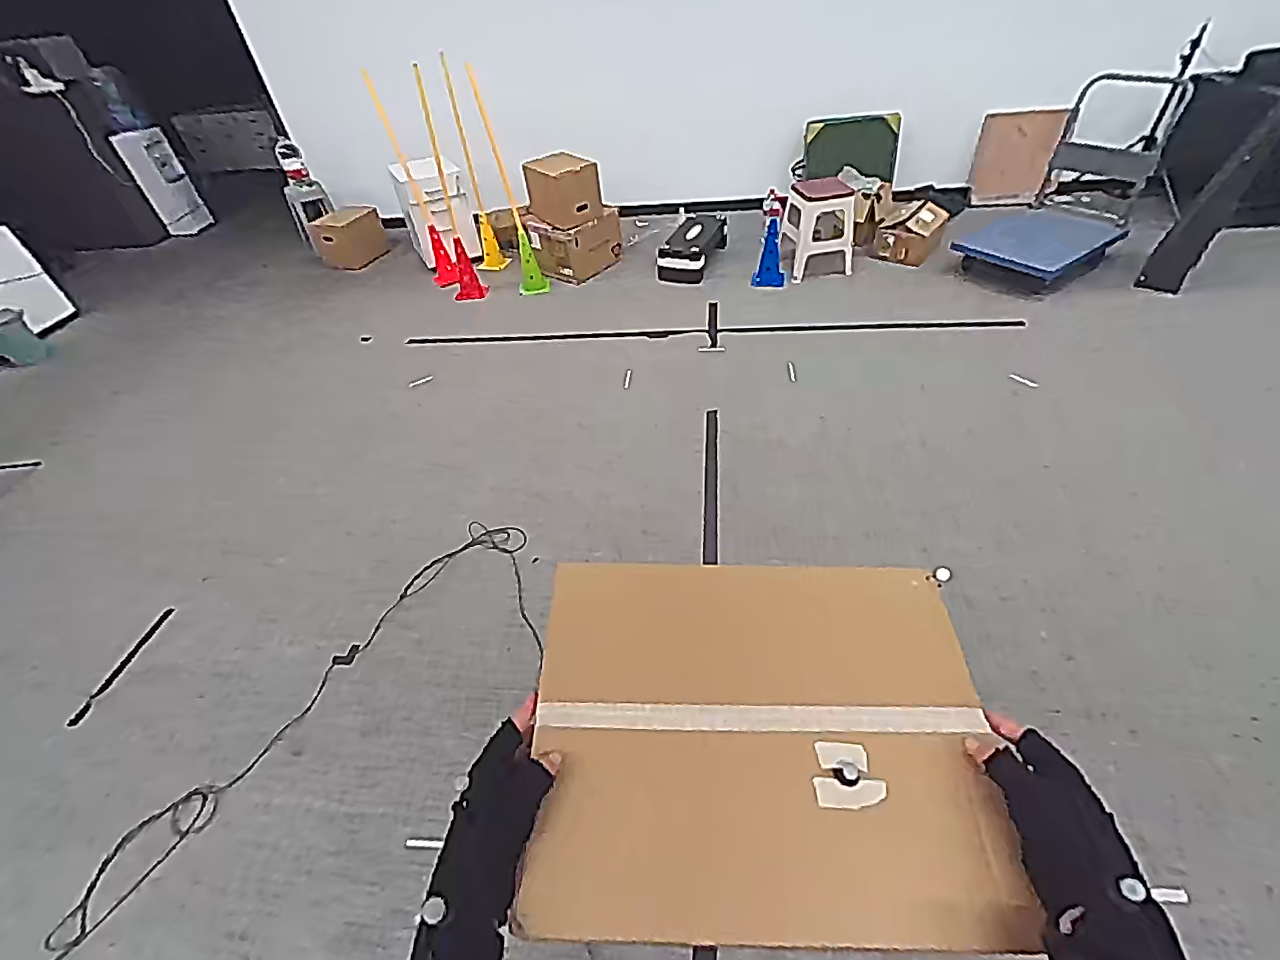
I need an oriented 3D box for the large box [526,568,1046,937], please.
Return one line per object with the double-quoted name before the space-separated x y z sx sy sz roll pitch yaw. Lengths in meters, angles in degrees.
"large box" 0.110 0.310 0.614 0.408 0.320 0.320 1 52 1
